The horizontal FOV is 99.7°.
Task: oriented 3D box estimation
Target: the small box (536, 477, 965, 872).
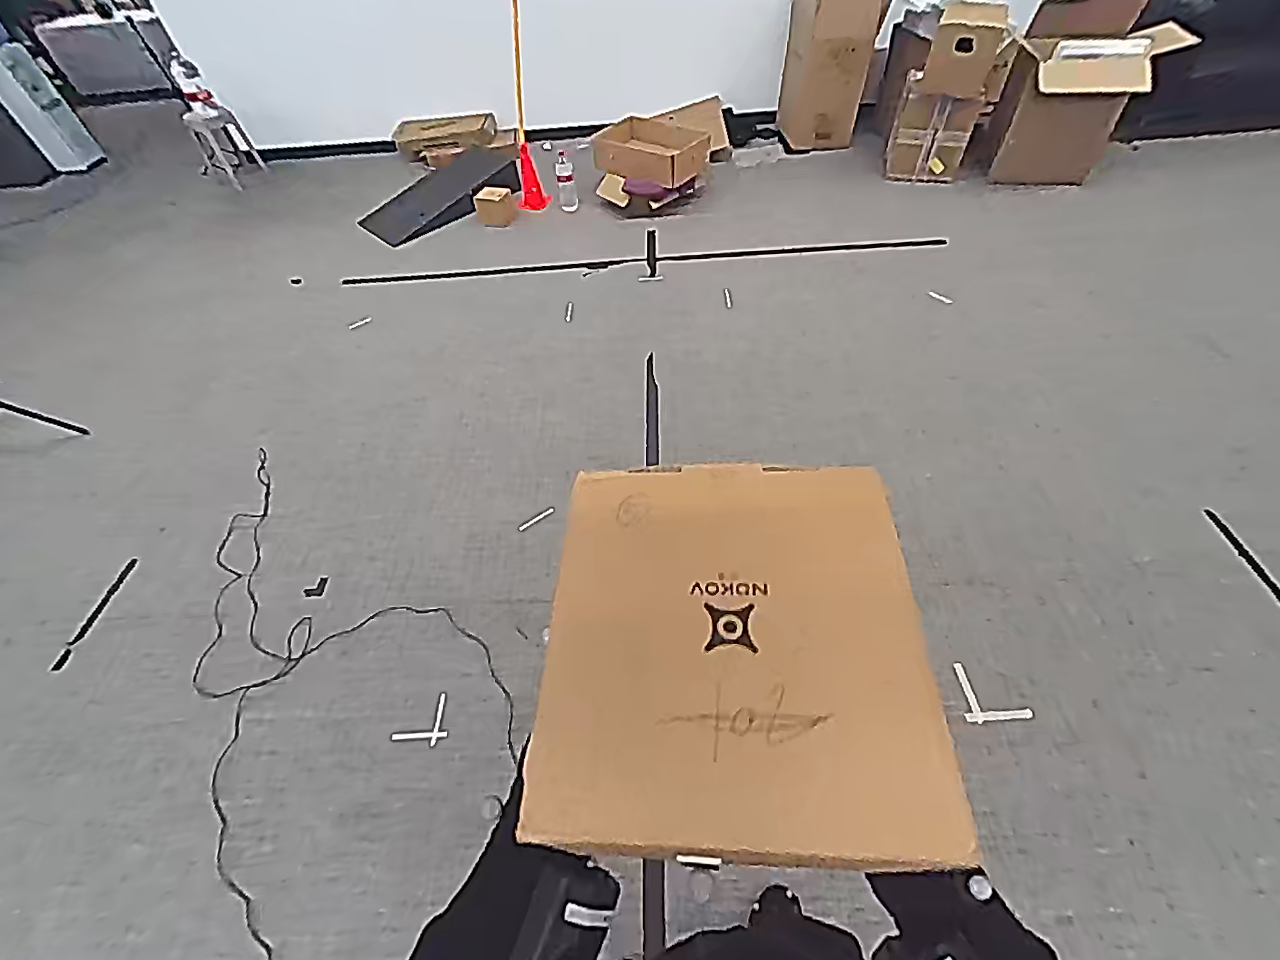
[{"bbox_3d":[0.048,0.116,0.319,0.168,0.176,0.179,-1,53,5],"label":"small box"}]
